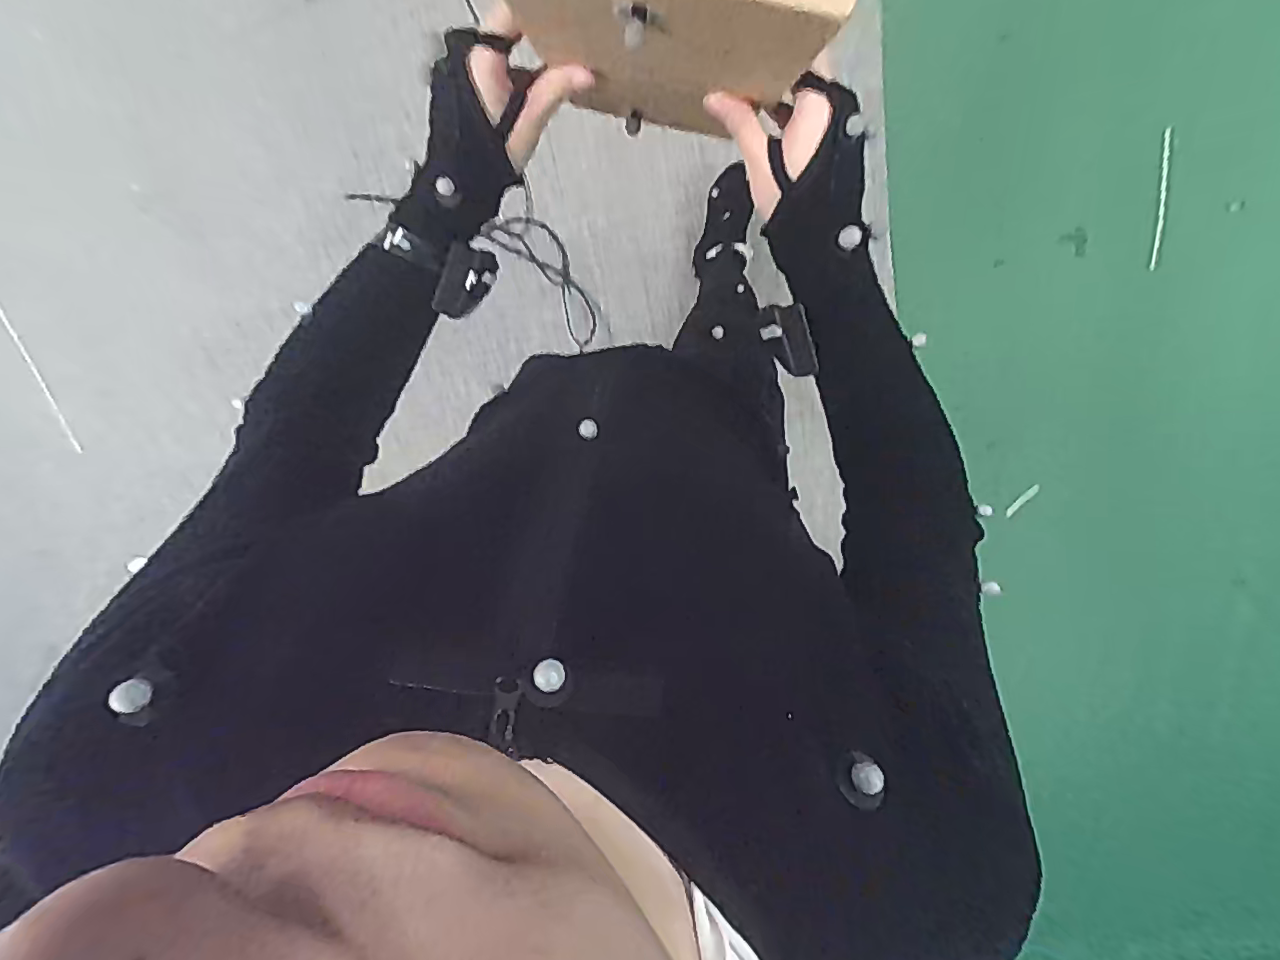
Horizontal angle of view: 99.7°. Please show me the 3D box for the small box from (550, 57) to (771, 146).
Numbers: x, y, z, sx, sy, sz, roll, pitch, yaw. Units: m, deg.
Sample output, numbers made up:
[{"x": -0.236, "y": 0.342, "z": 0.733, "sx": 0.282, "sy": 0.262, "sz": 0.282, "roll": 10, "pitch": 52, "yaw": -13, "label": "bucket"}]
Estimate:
[{"x": 0.028, "y": -0.393, "z": 0.431, "sx": 0.168, "sy": 0.176, "sz": 0.179, "roll": 9, "pitch": 113, "yaw": -3, "label": "small box"}]

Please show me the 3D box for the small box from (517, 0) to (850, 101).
[{"x": 0.024, "y": -0.324, "z": 0.281, "sx": 0.179, "sy": 0.176, "sz": 0.168, "roll": 9, "pitch": 113, "yaw": -2, "label": "small box"}]
